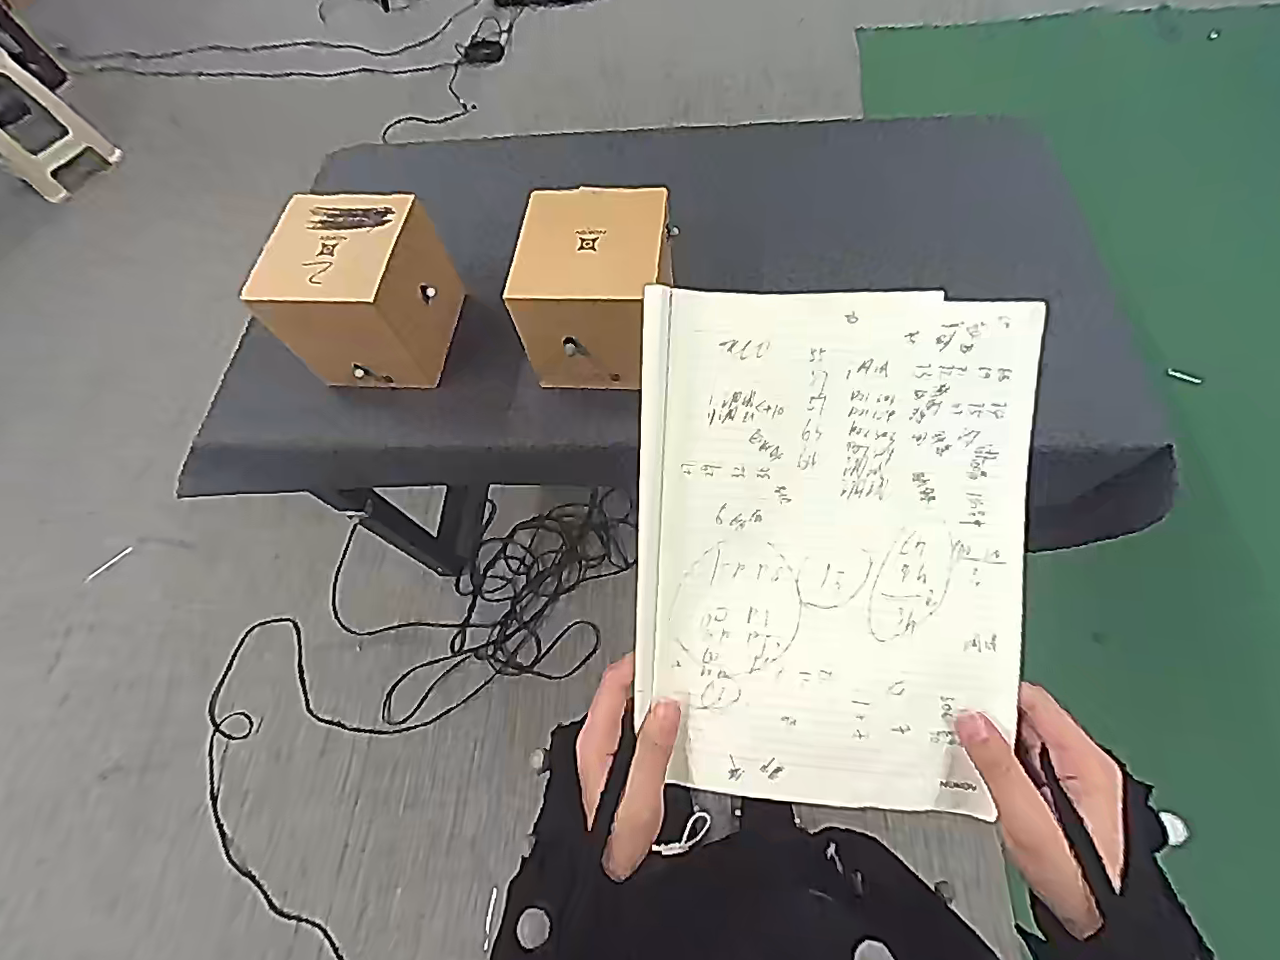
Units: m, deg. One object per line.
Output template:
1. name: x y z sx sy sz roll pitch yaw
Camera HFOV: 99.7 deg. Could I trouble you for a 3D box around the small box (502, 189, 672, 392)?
1. small box: -0.050 -0.224 0.667 0.168 0.176 0.179 3 63 7
